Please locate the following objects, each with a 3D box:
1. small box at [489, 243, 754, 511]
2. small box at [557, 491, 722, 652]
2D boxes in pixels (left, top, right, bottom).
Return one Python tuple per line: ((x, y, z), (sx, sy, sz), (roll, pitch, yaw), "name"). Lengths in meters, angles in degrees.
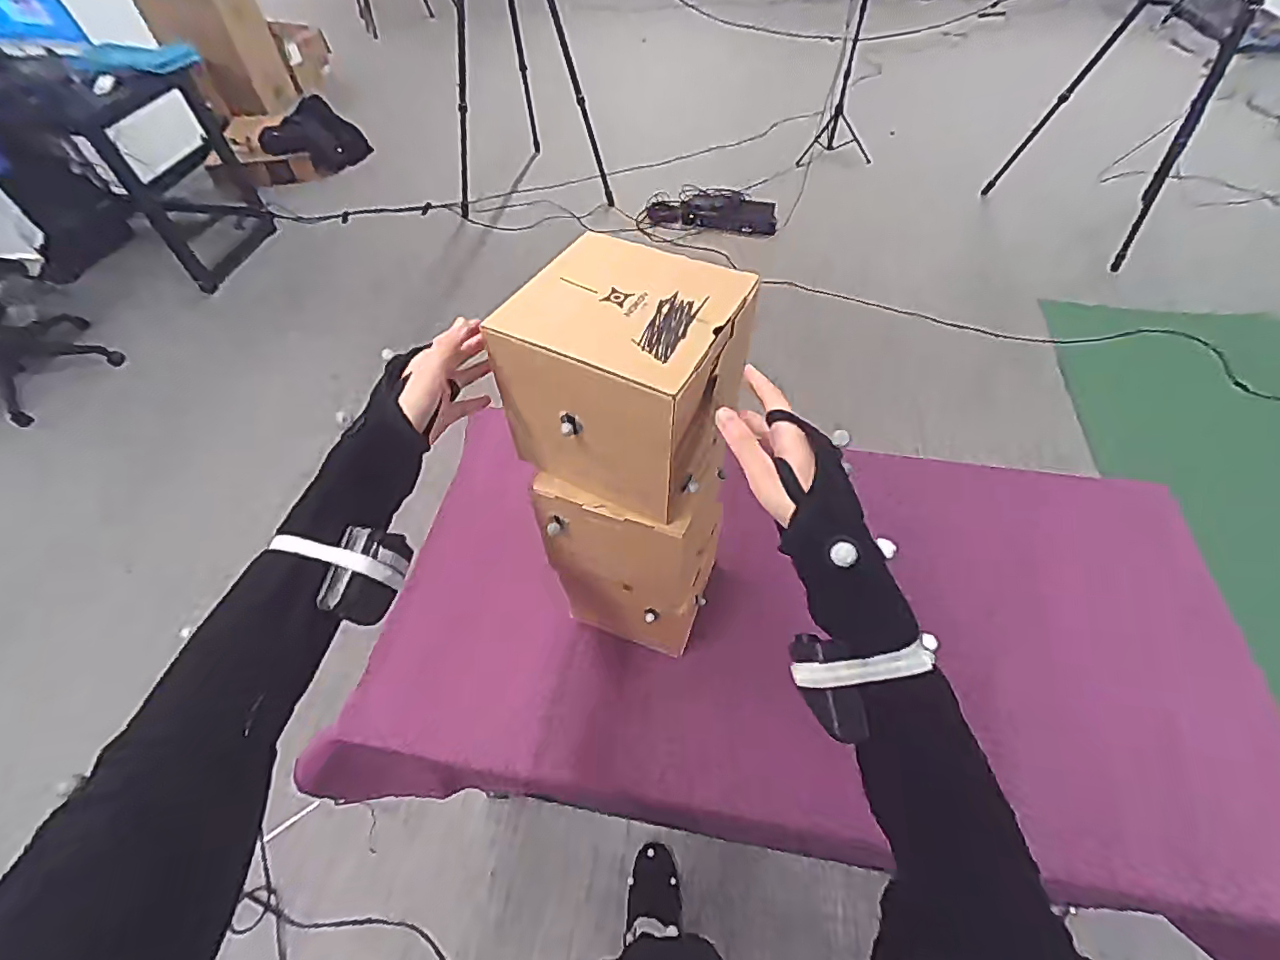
((-0.010, -0.095, 0.524), (0.179, 0.176, 0.168), (22, 55, 18), "small box")
((0.003, 0.121, 0.772), (0.179, 0.176, 0.168), (17, 54, 13), "small box")
